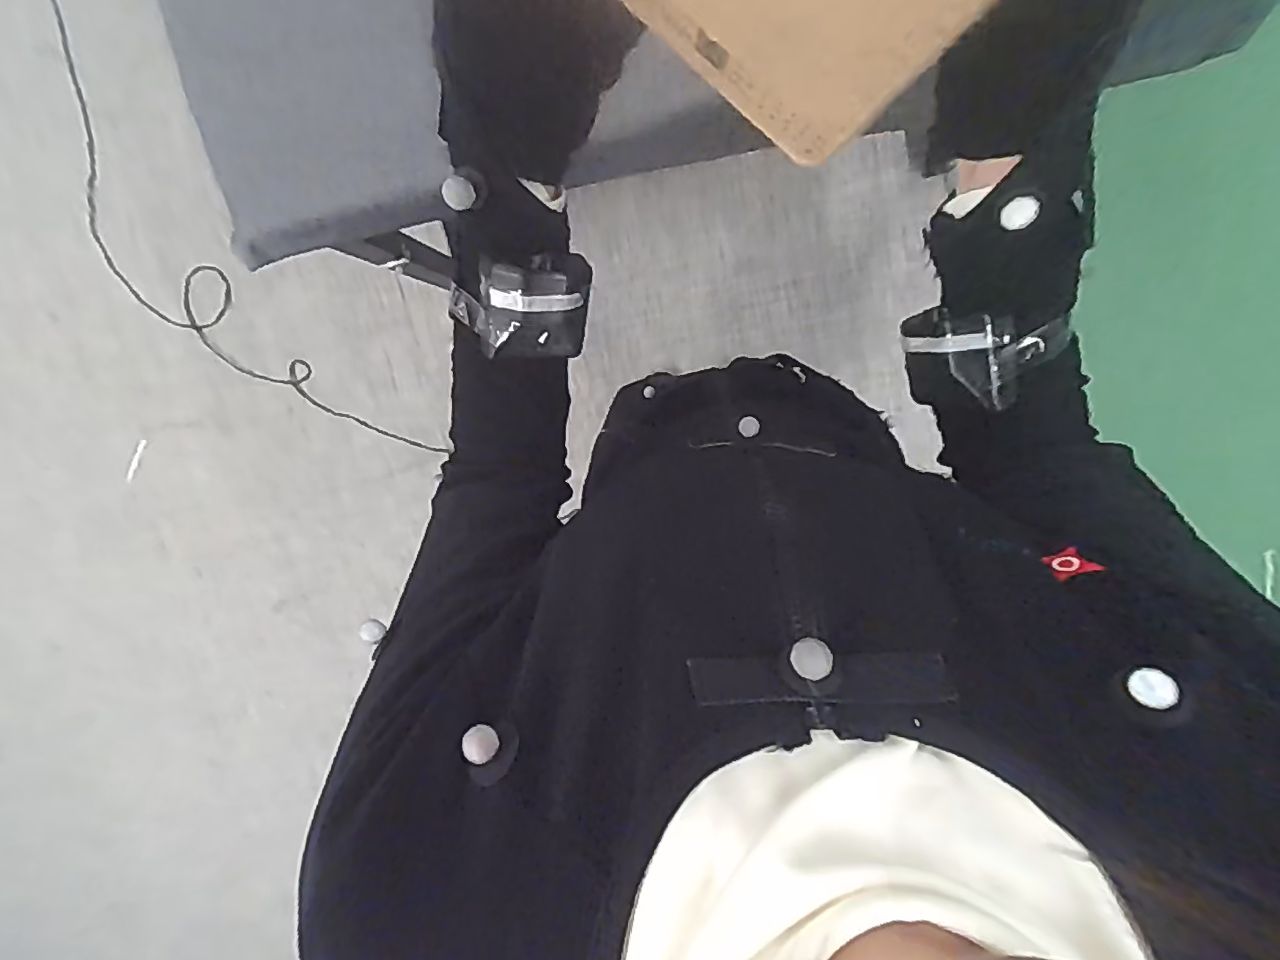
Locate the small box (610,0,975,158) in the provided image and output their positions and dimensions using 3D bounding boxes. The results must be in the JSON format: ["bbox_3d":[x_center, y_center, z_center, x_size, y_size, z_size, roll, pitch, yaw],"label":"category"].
[{"bbox_3d":[0.064,-0.234,0.137,0.168,0.176,0.179,36,98,-8],"label":"small box"}]
